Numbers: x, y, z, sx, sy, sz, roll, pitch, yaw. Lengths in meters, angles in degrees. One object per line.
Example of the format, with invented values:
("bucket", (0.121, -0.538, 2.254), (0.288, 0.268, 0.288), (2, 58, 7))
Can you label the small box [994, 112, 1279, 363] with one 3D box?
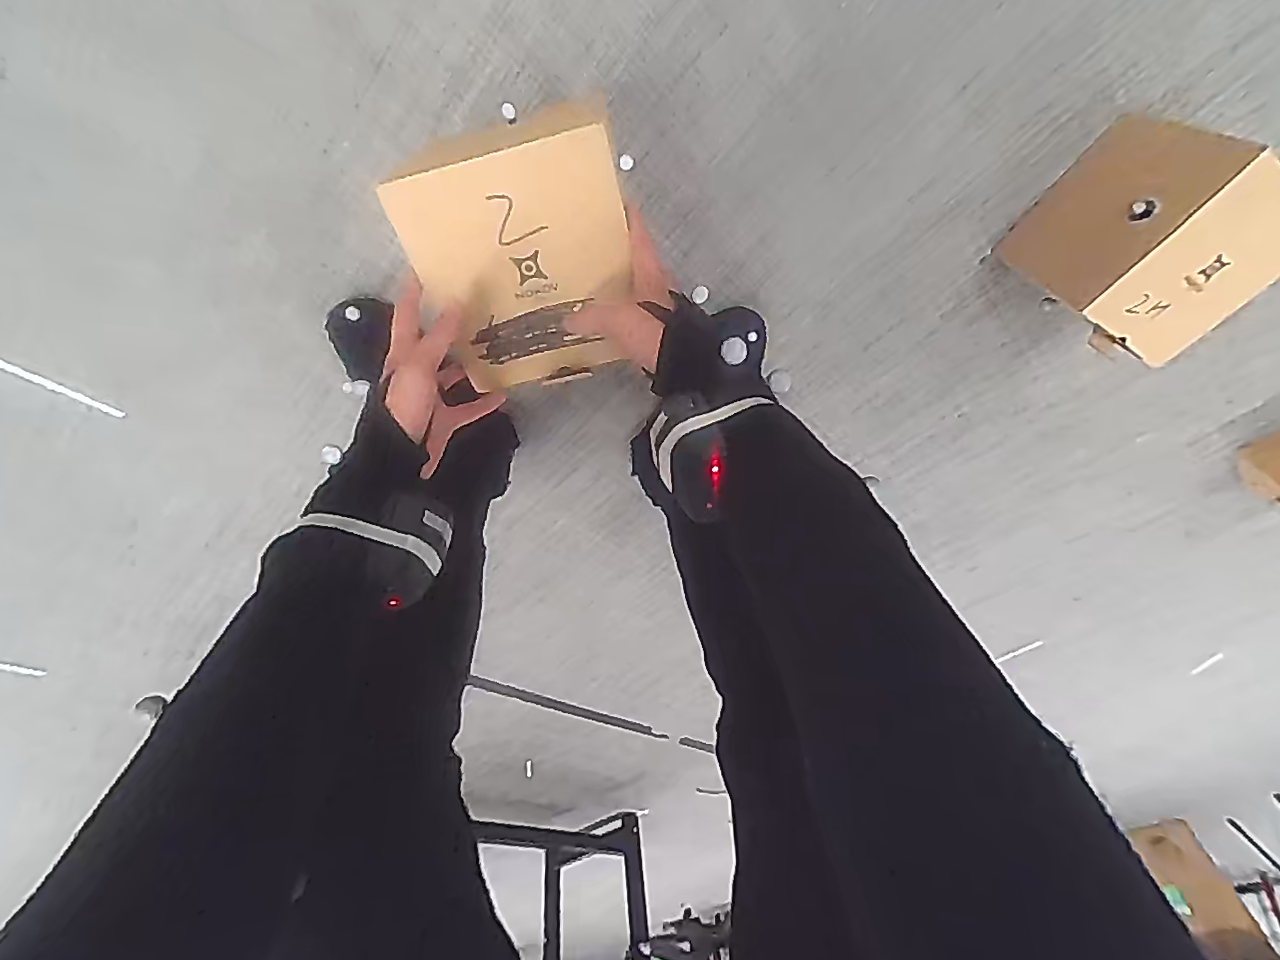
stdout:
("small box", (0.558, -0.273, 0.611), (0.168, 0.176, 0.179), (19, 130, -25))
